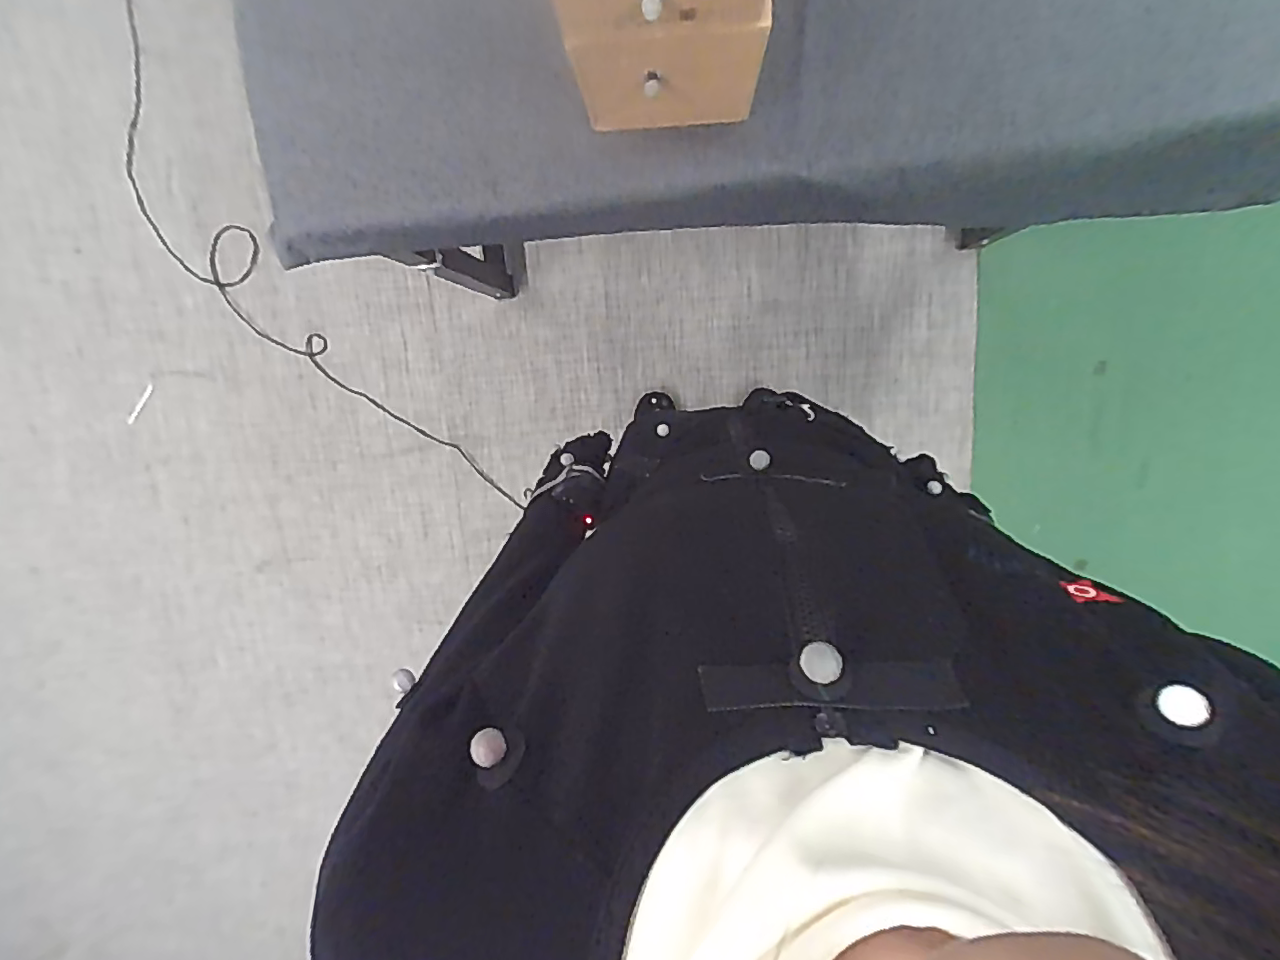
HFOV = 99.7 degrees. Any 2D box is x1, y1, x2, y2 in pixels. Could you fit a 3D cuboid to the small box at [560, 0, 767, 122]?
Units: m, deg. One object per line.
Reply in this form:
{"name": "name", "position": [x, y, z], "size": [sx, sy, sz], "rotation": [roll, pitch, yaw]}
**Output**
{"name": "small box", "position": [0.025, -0.471, 0.518], "size": [0.179, 0.176, 0.168], "rotation": [0, 101, 5]}

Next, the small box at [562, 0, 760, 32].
{"name": "small box", "position": [0.011, -0.447, 0.356], "size": [0.168, 0.176, 0.179], "rotation": [0, 101, 4]}
